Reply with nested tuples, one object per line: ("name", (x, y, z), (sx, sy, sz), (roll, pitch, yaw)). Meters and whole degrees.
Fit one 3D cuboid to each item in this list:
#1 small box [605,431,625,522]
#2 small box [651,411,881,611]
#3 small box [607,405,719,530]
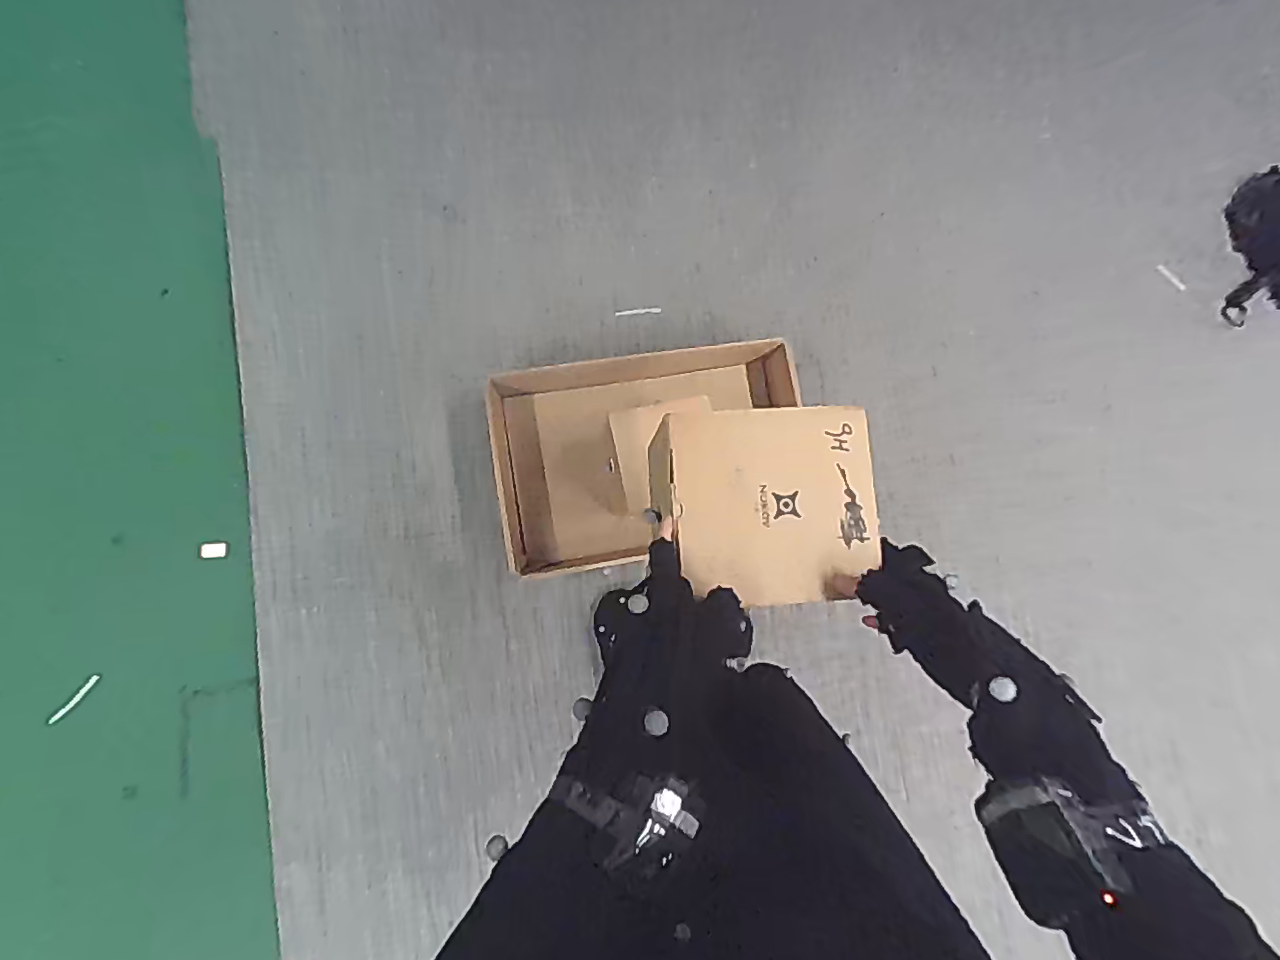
("small box", (0.021, -0.009, 1.109), (0.168, 0.176, 0.179), (-9, 84, -7))
("small box", (0.107, 0.038, 0.546), (0.179, 0.176, 0.168), (-5, 81, -6))
("small box", (0.049, -0.015, 0.932), (0.179, 0.176, 0.168), (-15, 85, -9))
